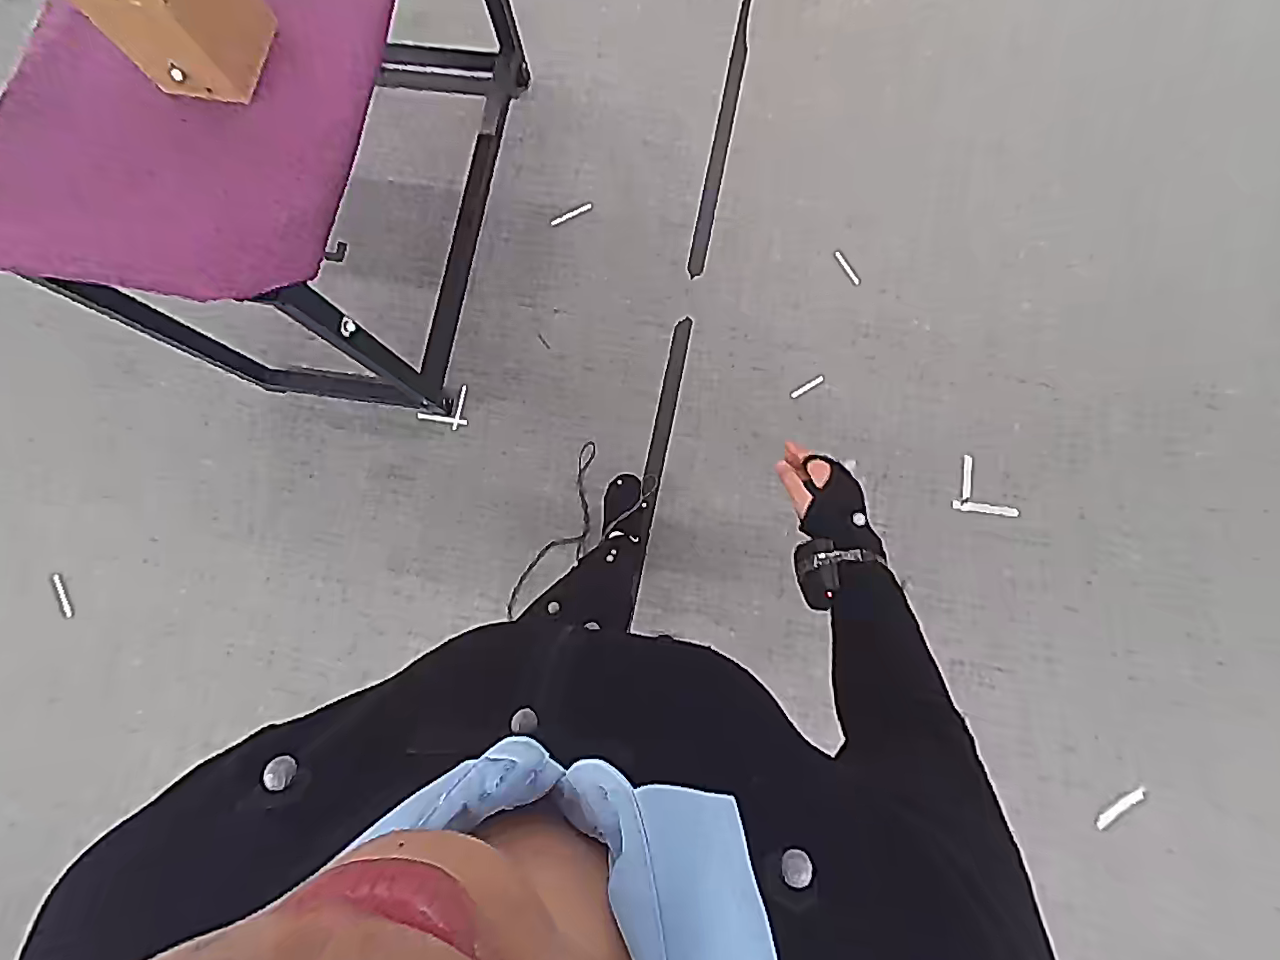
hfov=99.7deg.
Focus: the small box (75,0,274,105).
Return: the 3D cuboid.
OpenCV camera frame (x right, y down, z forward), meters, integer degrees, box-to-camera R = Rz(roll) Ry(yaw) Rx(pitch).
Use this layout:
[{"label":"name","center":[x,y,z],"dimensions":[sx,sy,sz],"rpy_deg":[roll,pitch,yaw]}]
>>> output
[{"label":"small box","center":[-0.743,-0.762,0.878],"dimensions":[0.168,0.176,0.179],"rpy_deg":[11,81,5]}]
